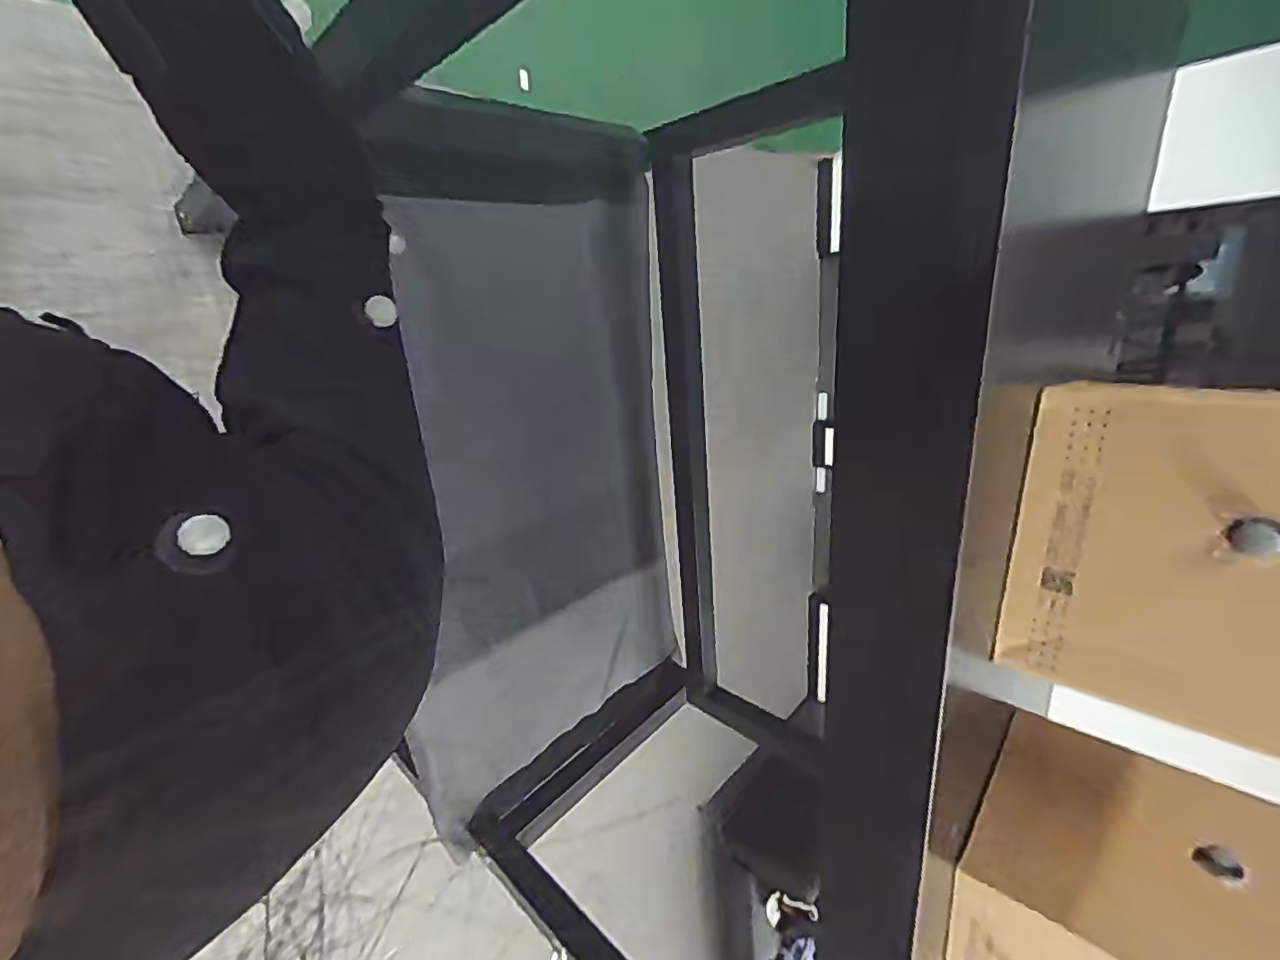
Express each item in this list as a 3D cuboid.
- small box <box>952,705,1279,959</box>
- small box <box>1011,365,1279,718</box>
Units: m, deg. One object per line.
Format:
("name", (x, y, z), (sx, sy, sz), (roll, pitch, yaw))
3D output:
("small box", (0.349, 0.303, 0.392), (0.179, 0.176, 0.168), (-28, 119, -39))
("small box", (0.335, 0.021, 0.311), (0.179, 0.176, 0.168), (-13, 109, -45))
